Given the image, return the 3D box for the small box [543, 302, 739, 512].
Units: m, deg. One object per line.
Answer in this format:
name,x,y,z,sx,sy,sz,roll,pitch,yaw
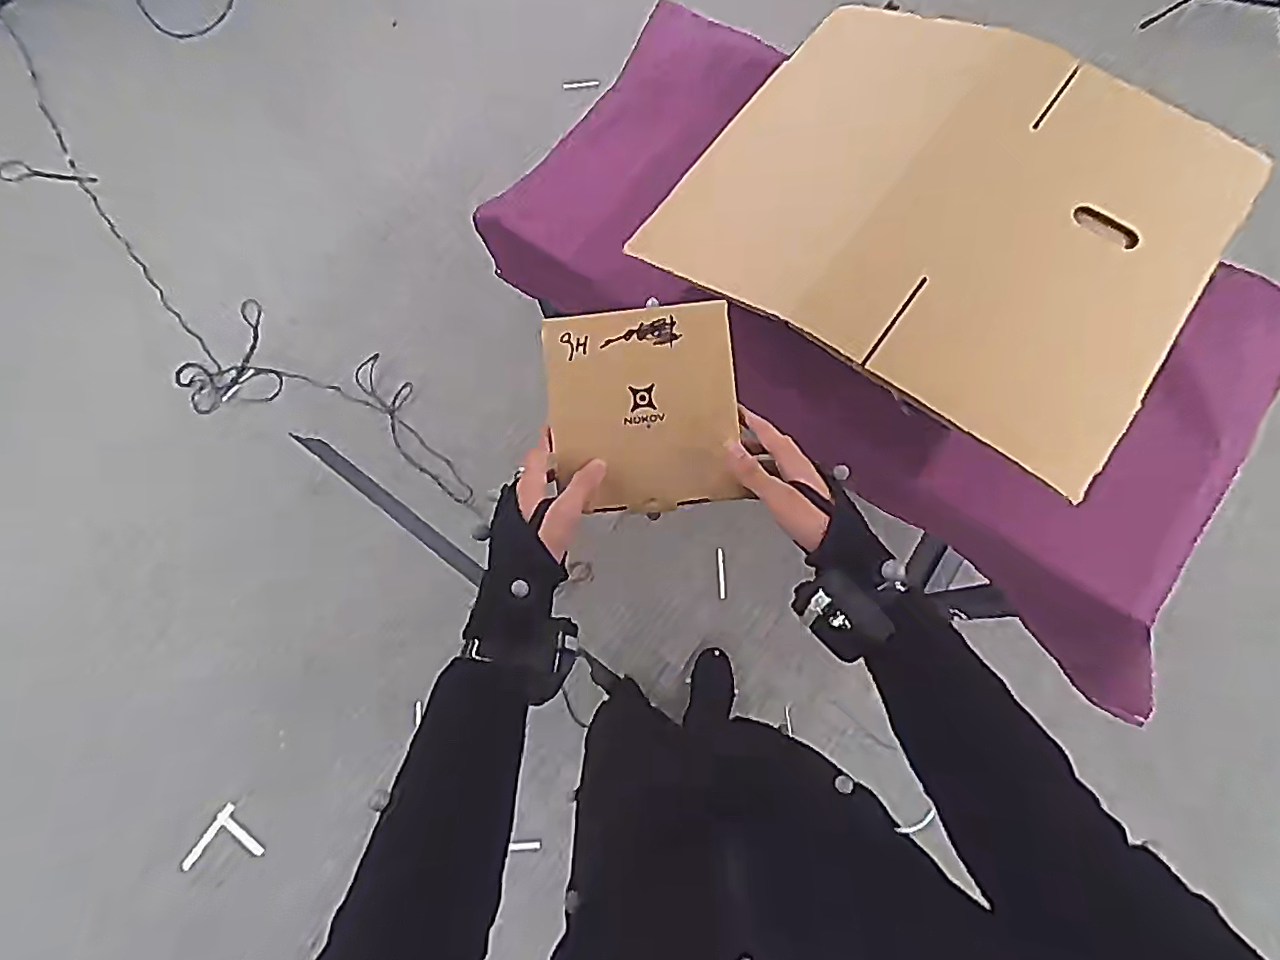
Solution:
small box,0.005,-0.066,0.558,0.168,0.176,0.179,-5,90,2
